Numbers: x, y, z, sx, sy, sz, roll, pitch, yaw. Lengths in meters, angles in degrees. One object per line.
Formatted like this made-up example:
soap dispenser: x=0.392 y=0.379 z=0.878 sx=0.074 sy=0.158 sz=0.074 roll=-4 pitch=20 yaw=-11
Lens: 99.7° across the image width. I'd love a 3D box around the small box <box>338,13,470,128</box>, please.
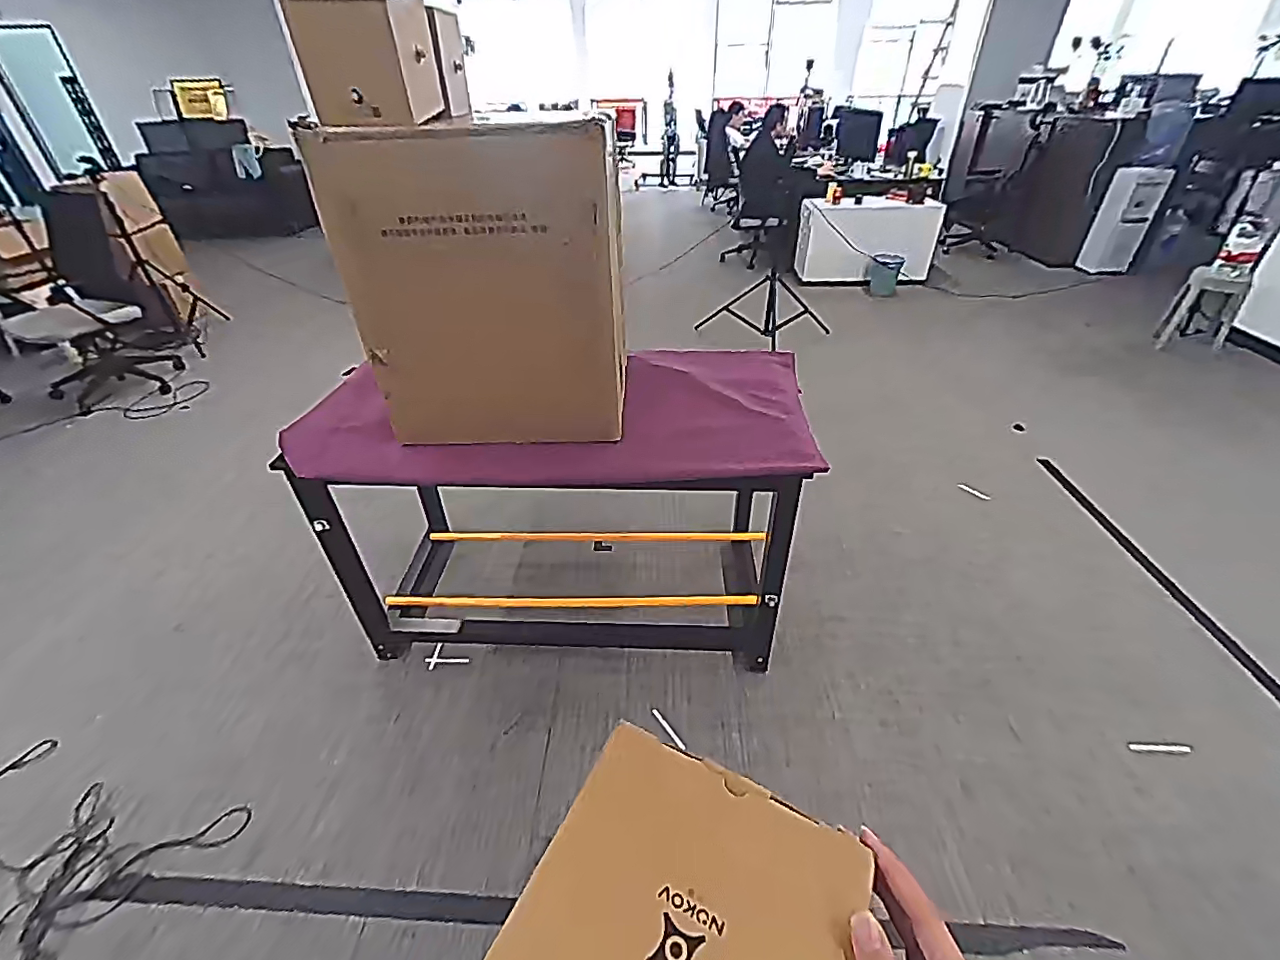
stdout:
small box: x=-0.452 y=-0.807 z=1.071 sx=0.179 sy=0.176 sz=0.168 roll=-1 pitch=36 yaw=0
